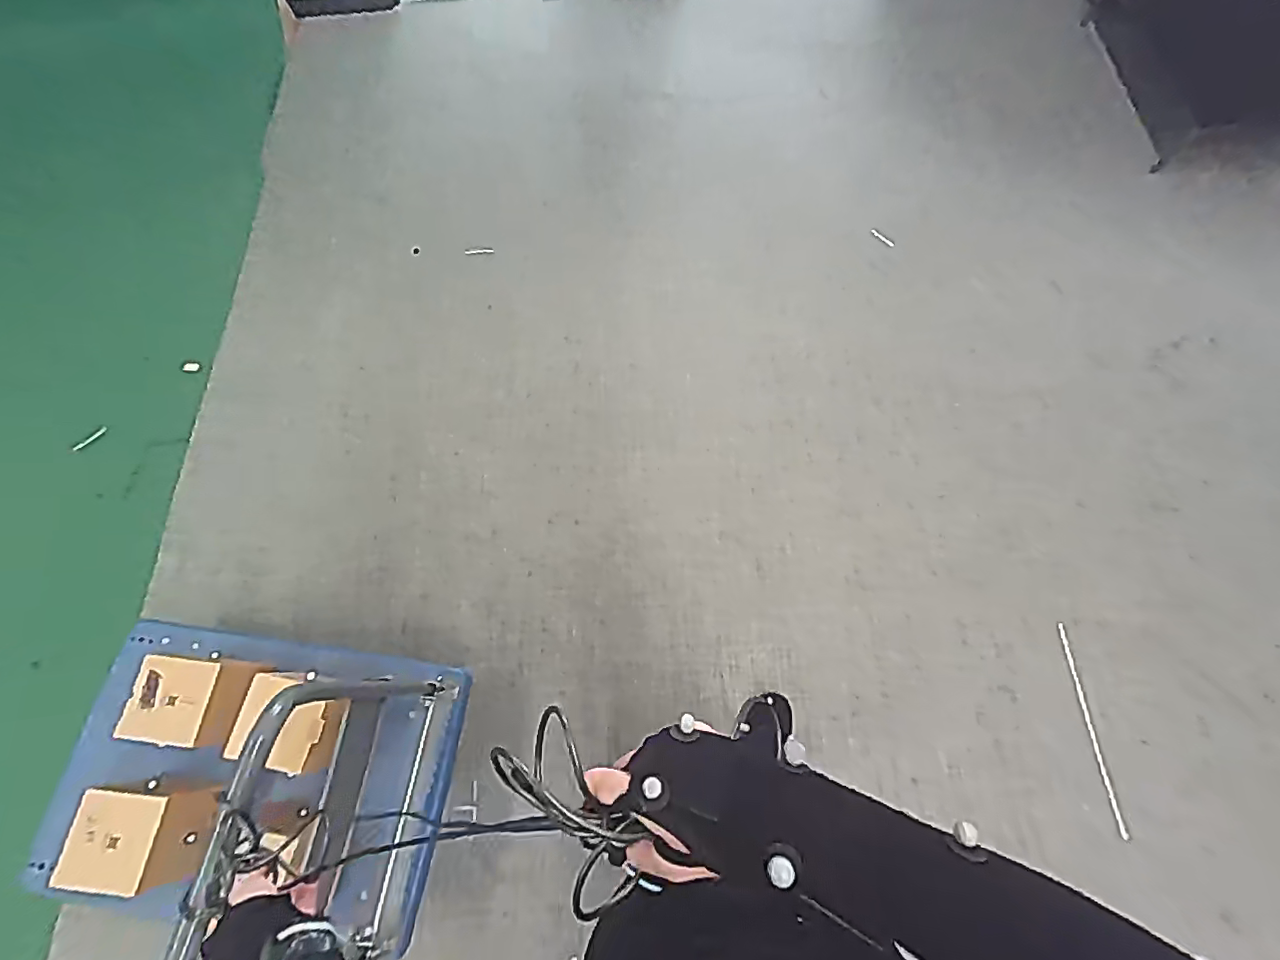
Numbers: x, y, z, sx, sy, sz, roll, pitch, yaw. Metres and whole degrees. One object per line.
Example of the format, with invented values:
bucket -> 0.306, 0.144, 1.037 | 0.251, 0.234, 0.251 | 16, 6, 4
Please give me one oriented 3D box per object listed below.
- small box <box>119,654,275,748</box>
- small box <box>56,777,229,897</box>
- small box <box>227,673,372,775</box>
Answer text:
small box -> -0.971, 0.487, 1.203 | 0.179, 0.176, 0.168 | 6, 71, 4
small box -> -1.009, 0.725, 1.118 | 0.179, 0.176, 0.168 | 4, 69, 4
small box -> -0.729, 0.524, 1.179 | 0.179, 0.176, 0.168 | 9, 70, 5
